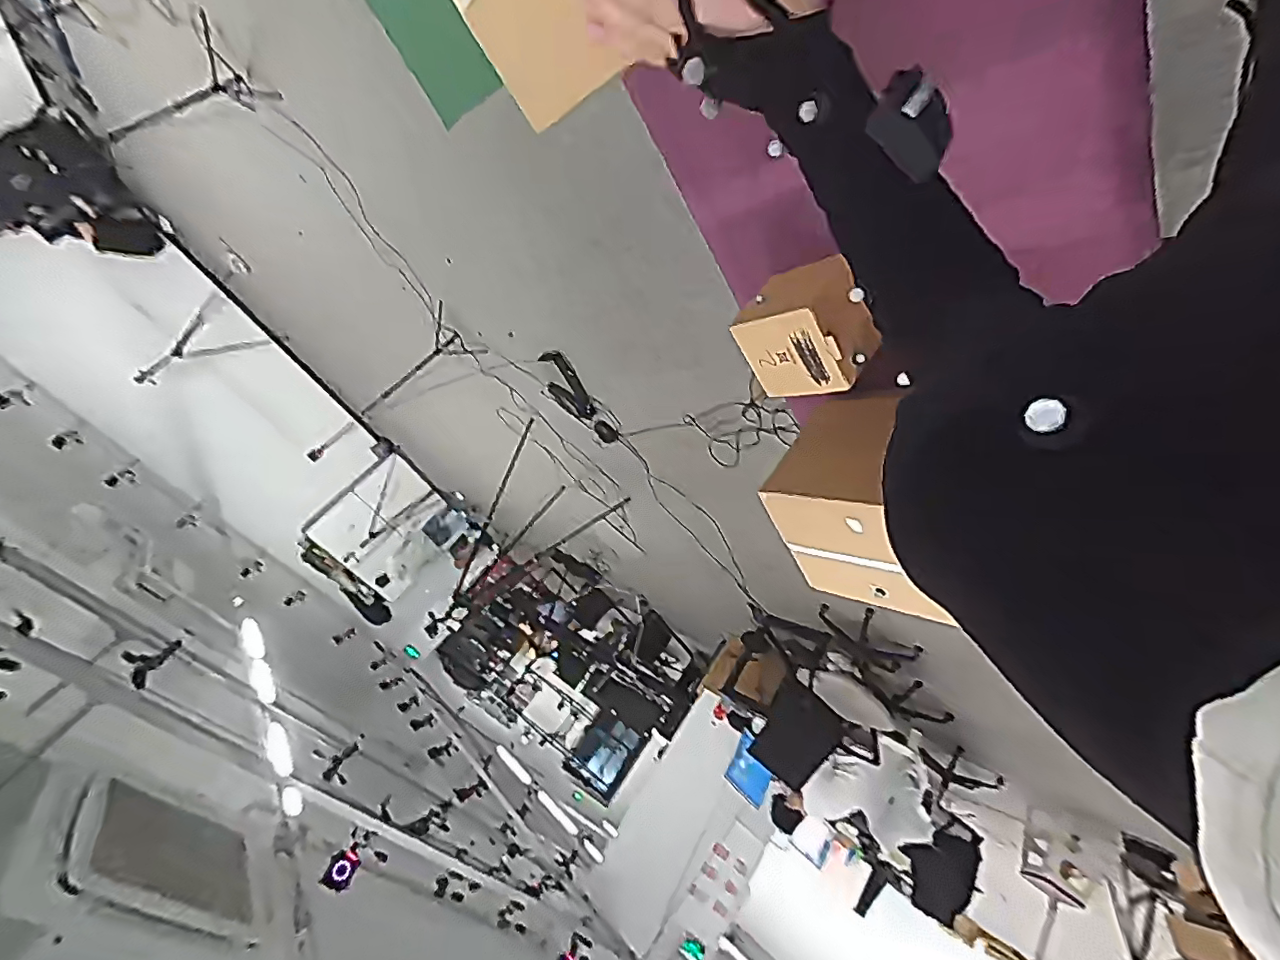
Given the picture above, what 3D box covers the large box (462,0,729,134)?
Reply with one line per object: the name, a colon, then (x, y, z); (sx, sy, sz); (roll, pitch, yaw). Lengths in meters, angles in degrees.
large box: (0.006, -0.645, 0.537); (0.408, 0.320, 0.320); (7, 143, 50)
